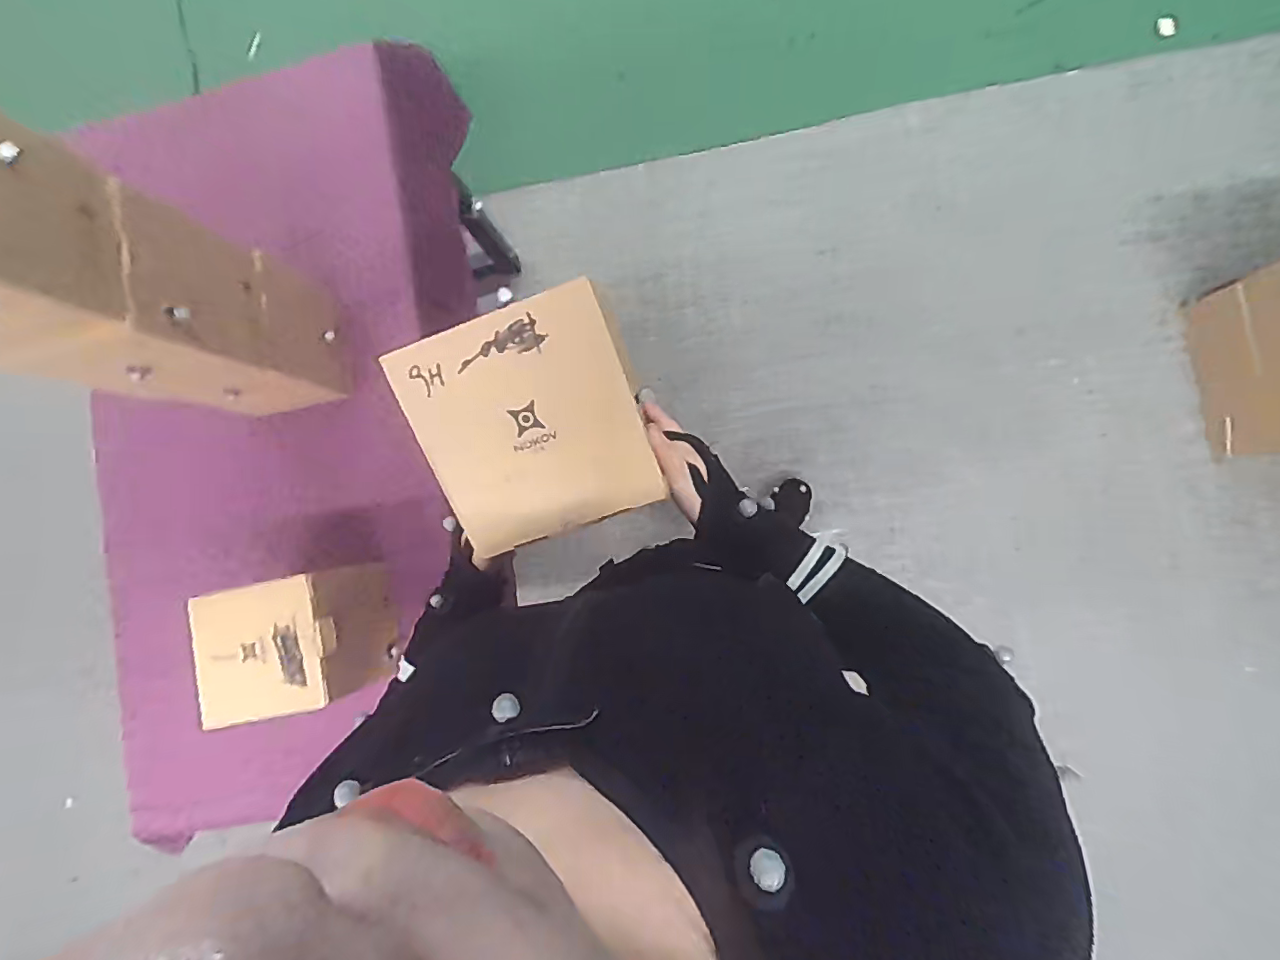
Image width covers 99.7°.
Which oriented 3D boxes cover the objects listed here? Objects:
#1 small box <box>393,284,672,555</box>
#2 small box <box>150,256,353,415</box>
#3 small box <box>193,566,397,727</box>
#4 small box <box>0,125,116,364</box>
[{"bbox_3d":[-0.075,-0.064,0.484,0.168,0.176,0.179,-18,108,6],"label":"small box"},{"bbox_3d":[-0.562,-0.200,0.799,0.179,0.176,0.168,-9,86,7],"label":"small box"},{"bbox_3d":[-0.466,0.221,0.760,0.179,0.176,0.168,-13,84,8],"label":"small box"},{"bbox_3d":[-0.616,-0.216,0.476,0.179,0.176,0.168,-12,84,8],"label":"small box"}]
